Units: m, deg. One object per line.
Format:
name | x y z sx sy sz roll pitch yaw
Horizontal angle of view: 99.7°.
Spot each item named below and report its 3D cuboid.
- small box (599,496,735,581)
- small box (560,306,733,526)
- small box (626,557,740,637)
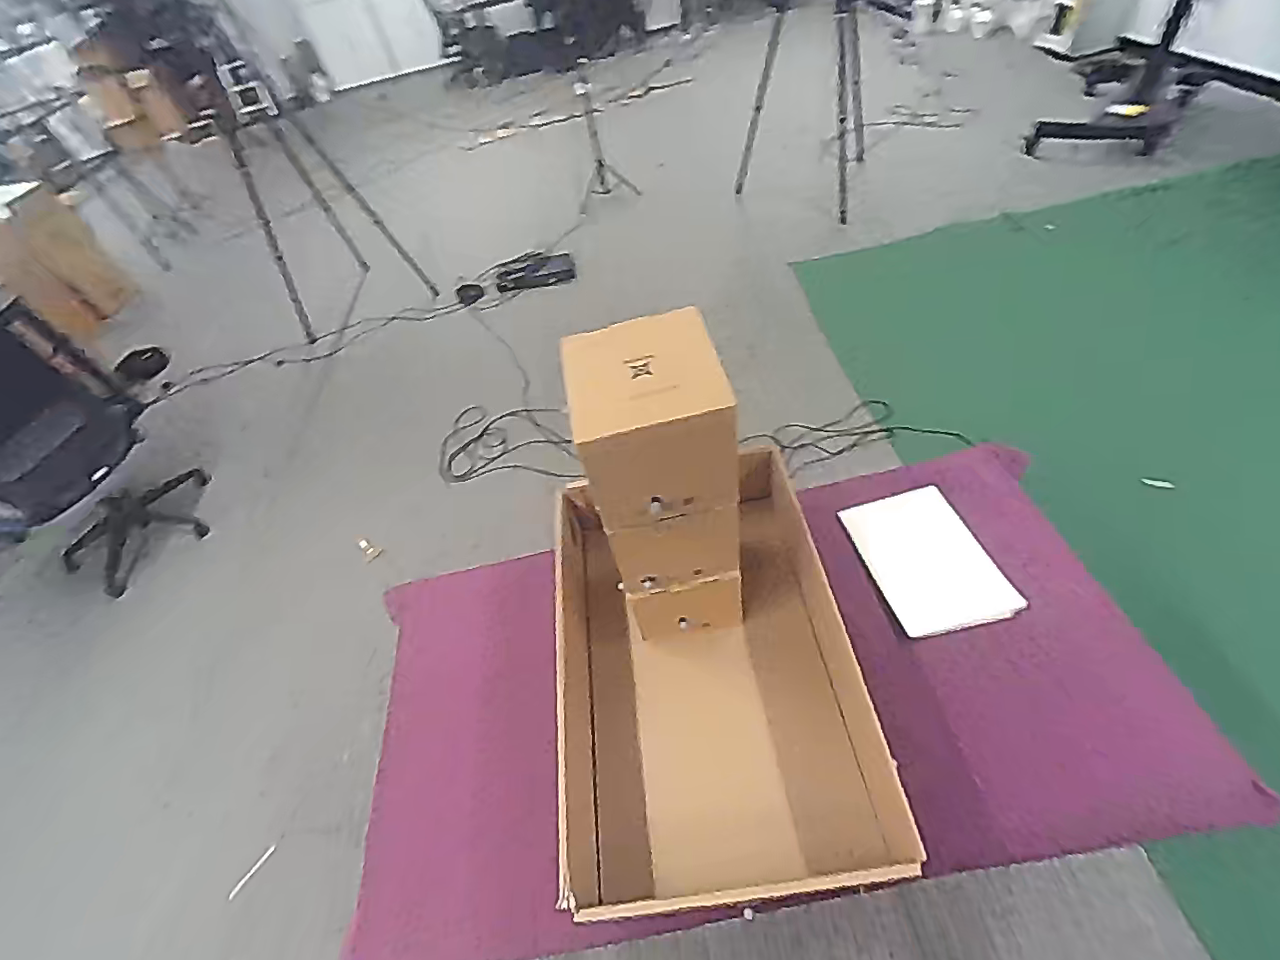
small box | 0.034 0.027 0.768 0.168 0.176 0.179 -13 50 1
small box | 0.009 -0.072 0.642 0.168 0.176 0.179 -13 52 1
small box | 0.062 0.133 0.890 0.168 0.176 0.179 -13 51 1
